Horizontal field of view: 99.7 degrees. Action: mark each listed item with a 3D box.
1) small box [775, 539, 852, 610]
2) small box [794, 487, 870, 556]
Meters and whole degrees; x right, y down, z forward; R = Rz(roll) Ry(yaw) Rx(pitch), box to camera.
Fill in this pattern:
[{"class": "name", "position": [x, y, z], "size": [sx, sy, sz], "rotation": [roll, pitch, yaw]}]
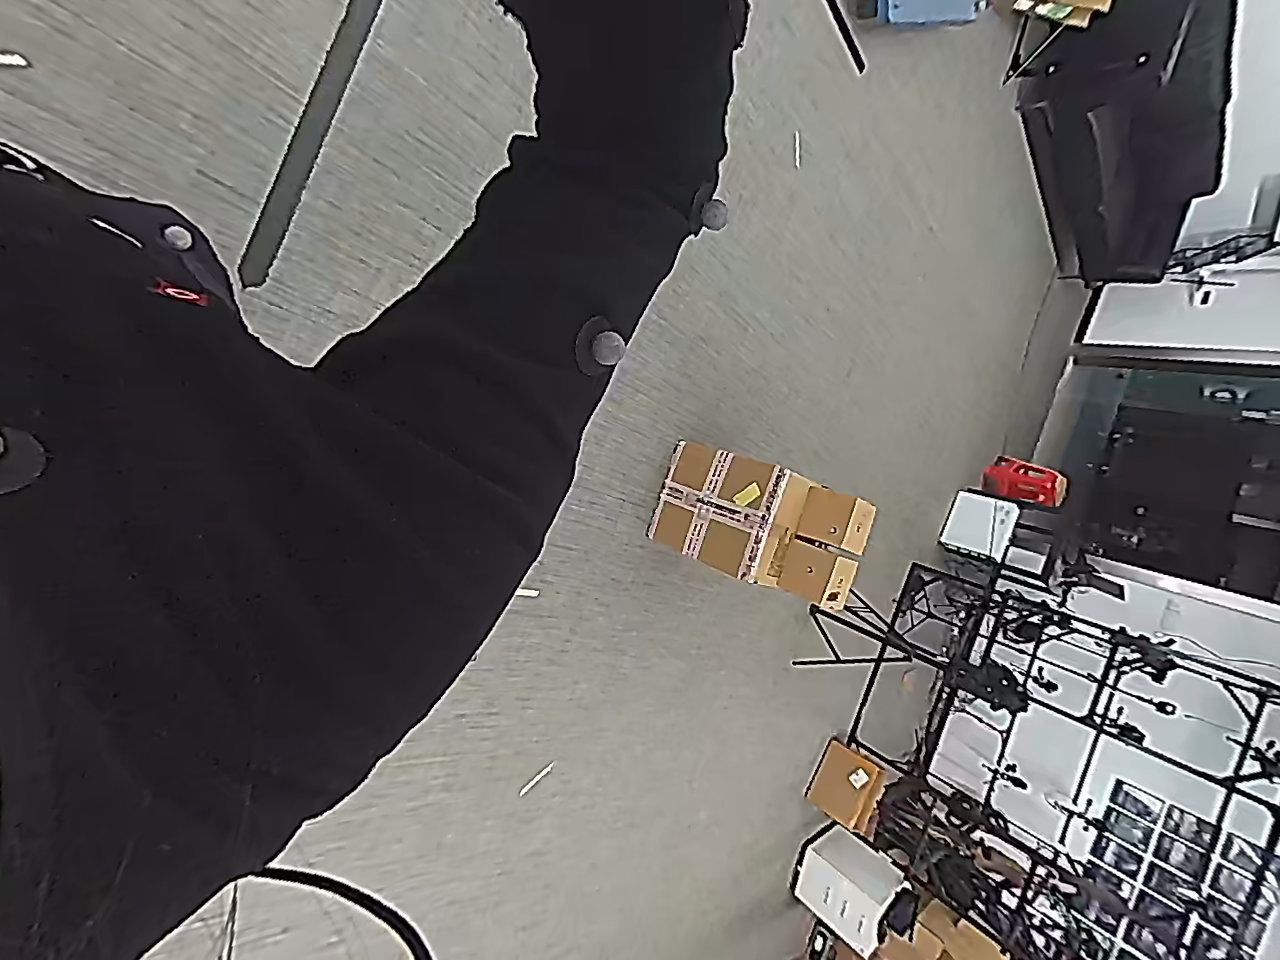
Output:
[{"class": "small box", "position": [0.583, 0.319, 1.833], "size": [0.168, 0.176, 0.179], "rotation": [20, 90, -43]}, {"class": "small box", "position": [0.645, 0.138, 1.831], "size": [0.168, 0.176, 0.179], "rotation": [21, 86, -44]}]
